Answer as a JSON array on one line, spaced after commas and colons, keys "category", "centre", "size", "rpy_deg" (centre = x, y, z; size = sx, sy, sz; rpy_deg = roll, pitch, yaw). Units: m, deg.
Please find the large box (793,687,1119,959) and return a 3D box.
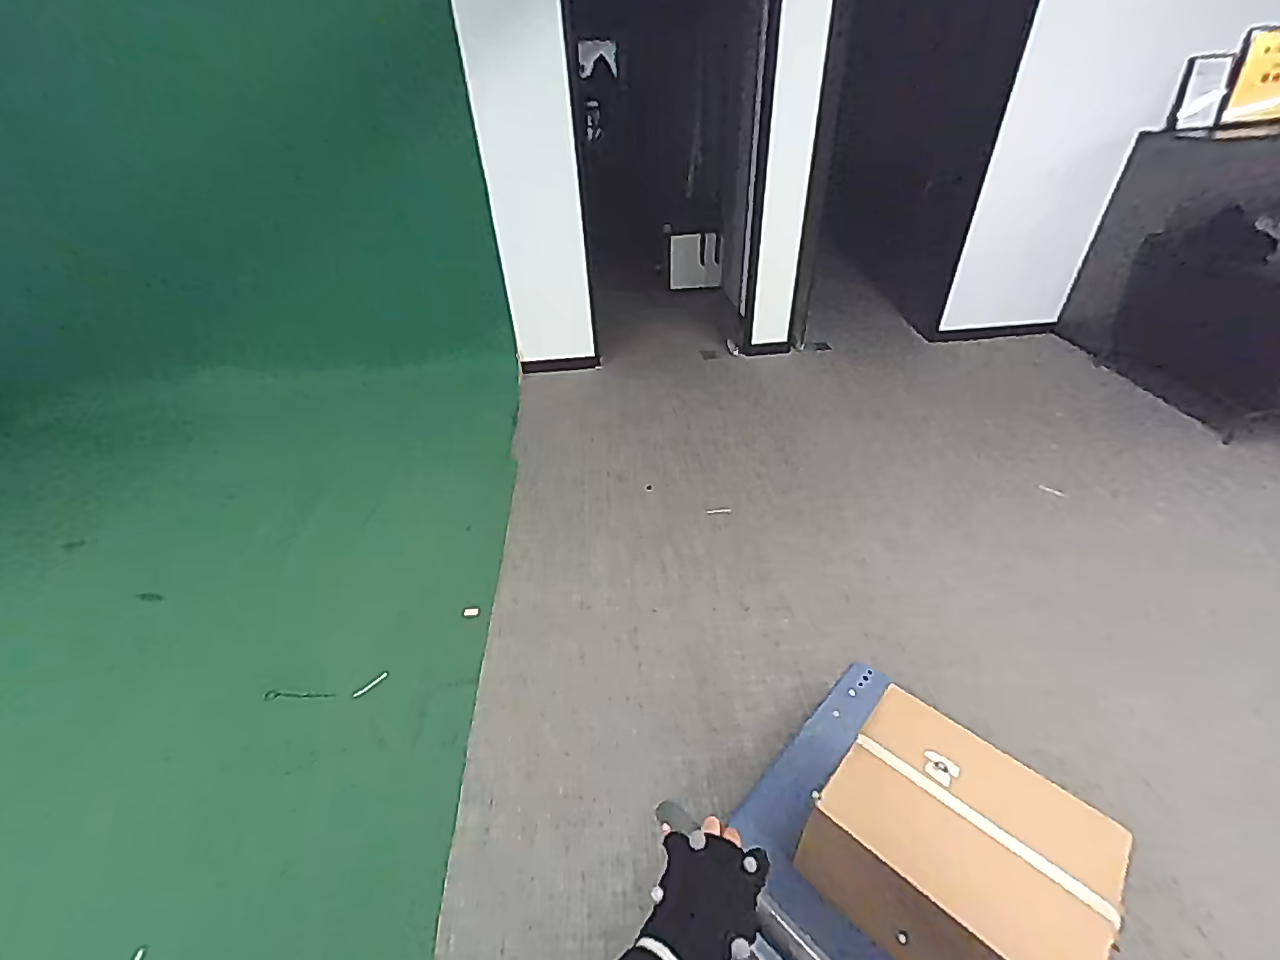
[{"category": "large box", "centre": [0.549, 0.685, 1.000], "size": [0.408, 0.320, 0.320], "rpy_deg": [28, 47, 35]}]
